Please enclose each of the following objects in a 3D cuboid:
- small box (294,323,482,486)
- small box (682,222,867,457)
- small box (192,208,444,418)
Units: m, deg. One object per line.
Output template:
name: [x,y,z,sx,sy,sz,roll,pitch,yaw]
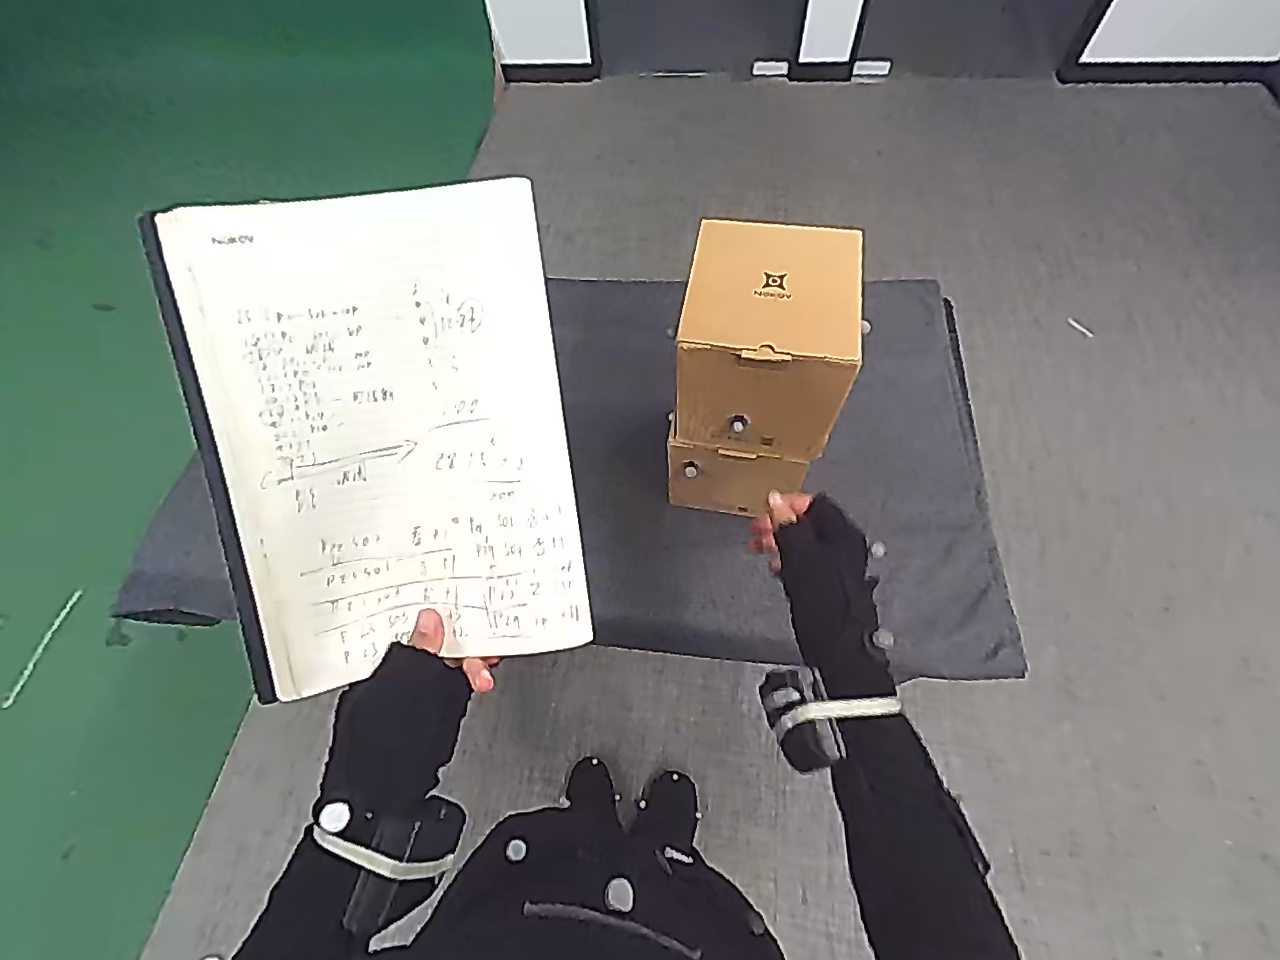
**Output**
small box: [-0.348,-0.112,0.791,0.168,0.176,0.179,5,62,7]
small box: [0.139,-0.149,0.593,0.168,0.176,0.179,7,62,8]
small box: [-0.360,-0.193,0.649,0.168,0.176,0.179,7,61,7]
